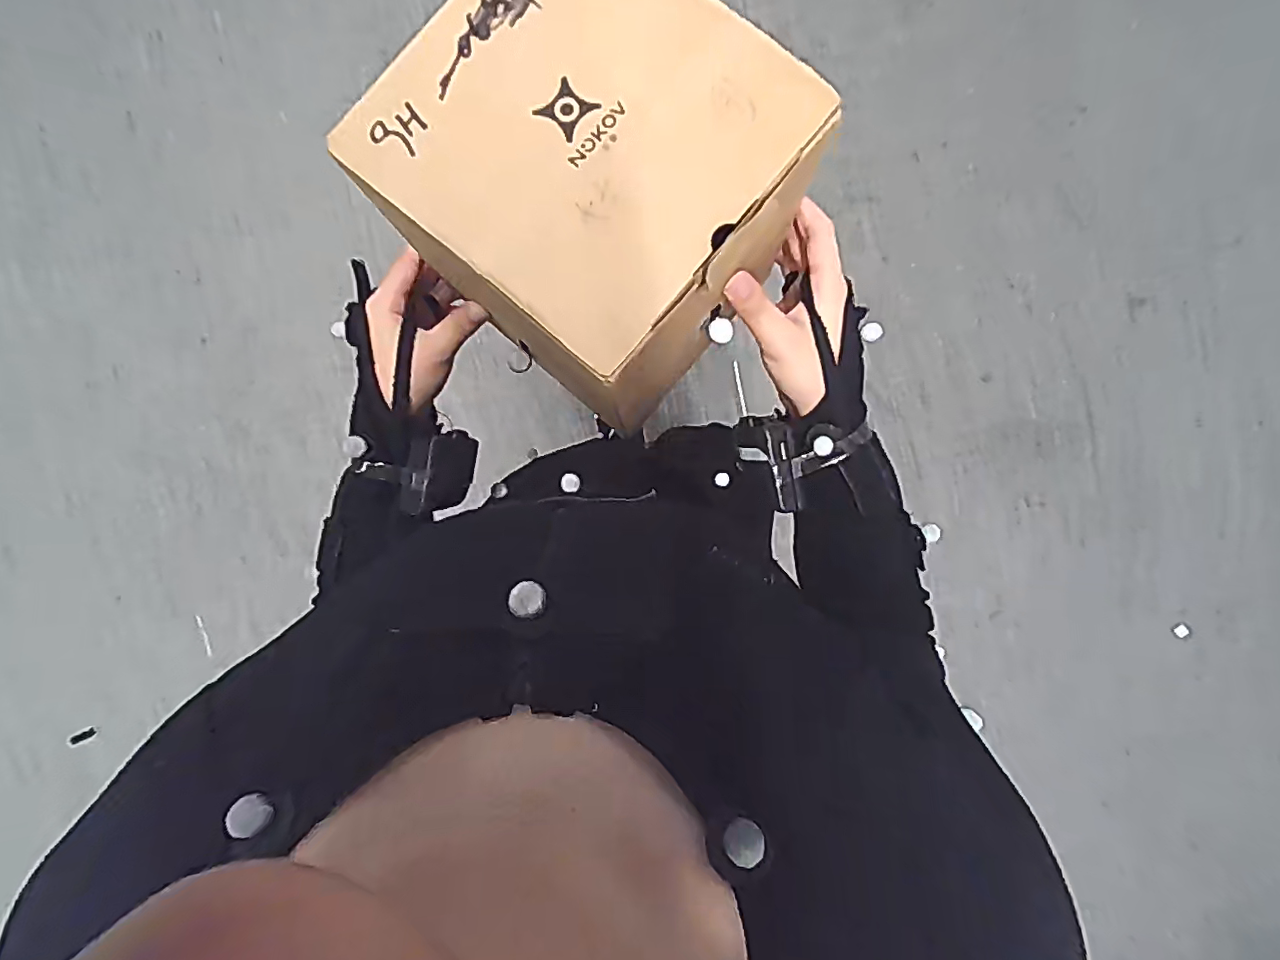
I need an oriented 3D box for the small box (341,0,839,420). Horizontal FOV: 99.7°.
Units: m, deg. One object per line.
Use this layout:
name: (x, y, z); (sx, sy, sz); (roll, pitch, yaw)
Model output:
small box: (-0.022, -0.153, 0.330); (0.179, 0.176, 0.168); (42, 88, 3)
